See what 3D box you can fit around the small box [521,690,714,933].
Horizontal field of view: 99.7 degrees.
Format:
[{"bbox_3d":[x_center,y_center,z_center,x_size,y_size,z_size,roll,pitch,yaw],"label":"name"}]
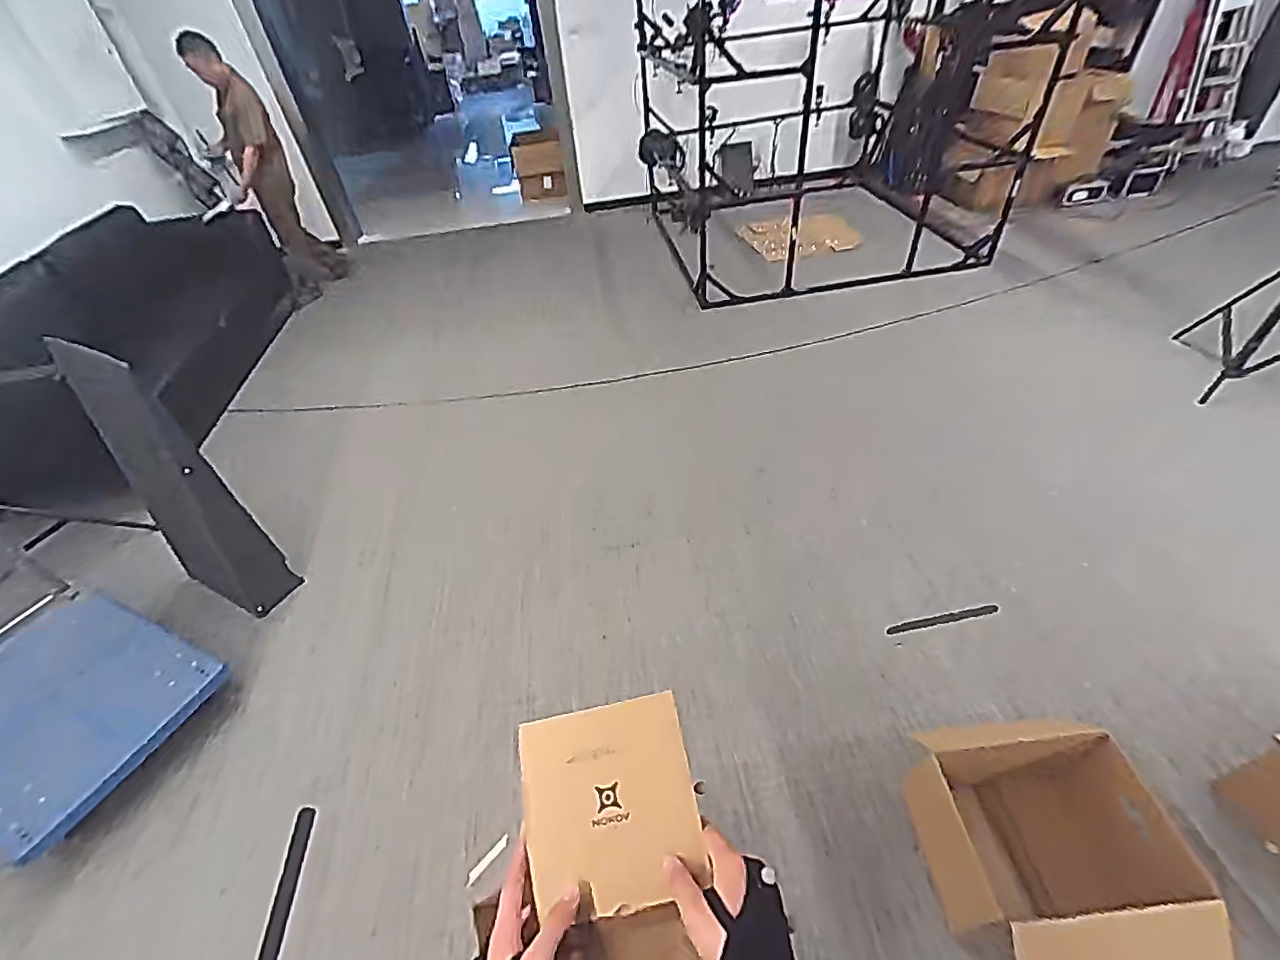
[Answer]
[{"bbox_3d":[-0.021,0.344,0.577,0.168,0.176,0.179,-11,57,-2],"label":"small box"}]
